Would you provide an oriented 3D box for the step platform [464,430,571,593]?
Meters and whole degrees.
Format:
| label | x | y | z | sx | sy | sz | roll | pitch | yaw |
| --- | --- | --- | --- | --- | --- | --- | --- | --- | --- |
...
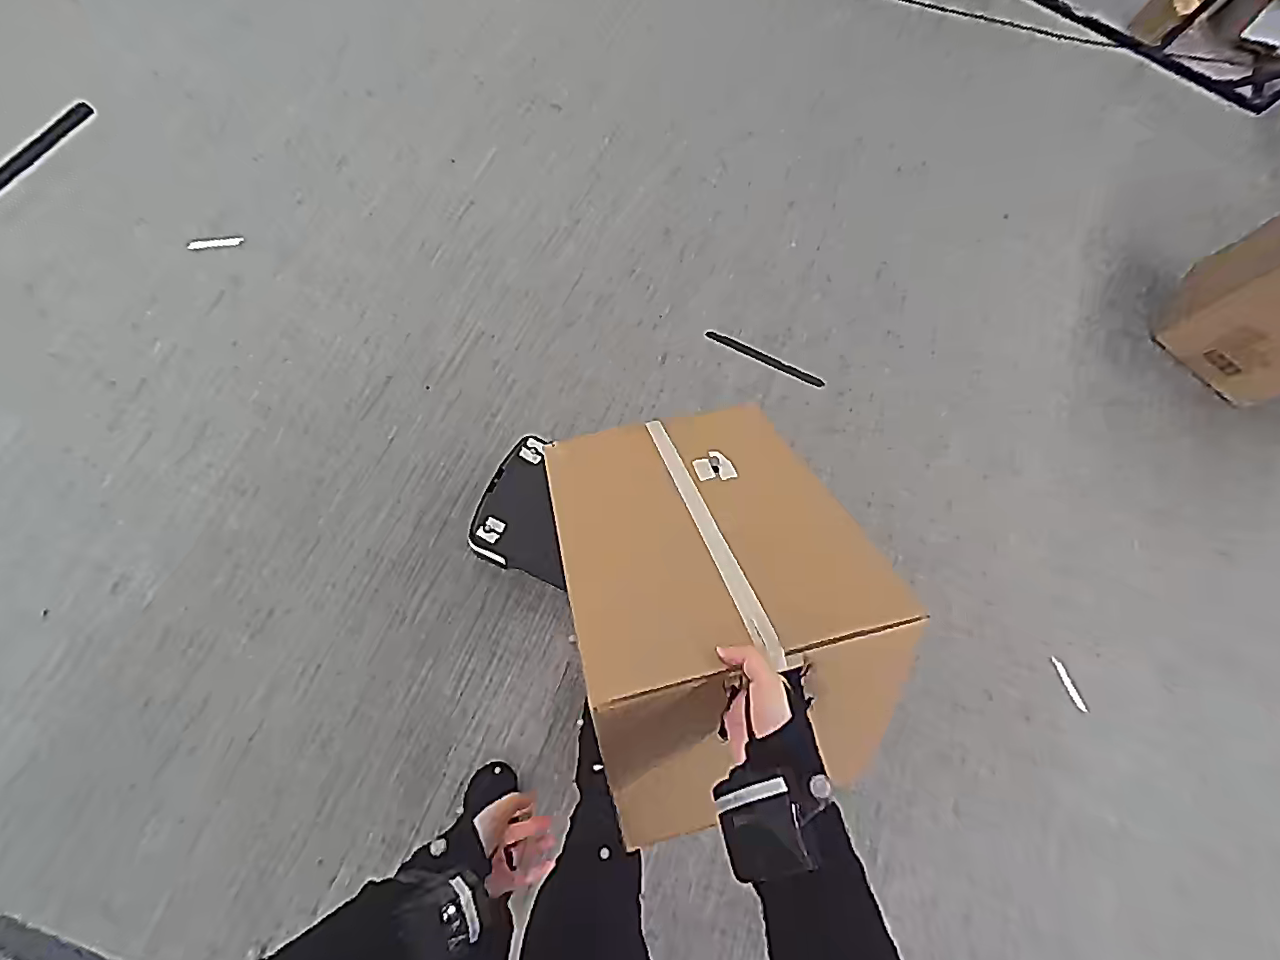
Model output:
| label | x | y | z | sx | sy | sz | roll | pitch | yaw |
| --- | --- | --- | --- | --- | --- | --- | --- | --- | --- |
| step platform | -0.062 | 0.167 | 1.275 | 0.684 | 0.204 | 0.286 | 30 | 70 | 1 |

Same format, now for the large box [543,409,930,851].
| label | x | y | z | sx | sy | sz | roll | pitch | yaw |
| --- | --- | --- | --- | --- | --- | --- | --- | --- | --- |
| large box | 0.081 | 0.161 | 0.699 | 0.320 | 0.320 | 0.408 | -13 | 37 | -8 |
